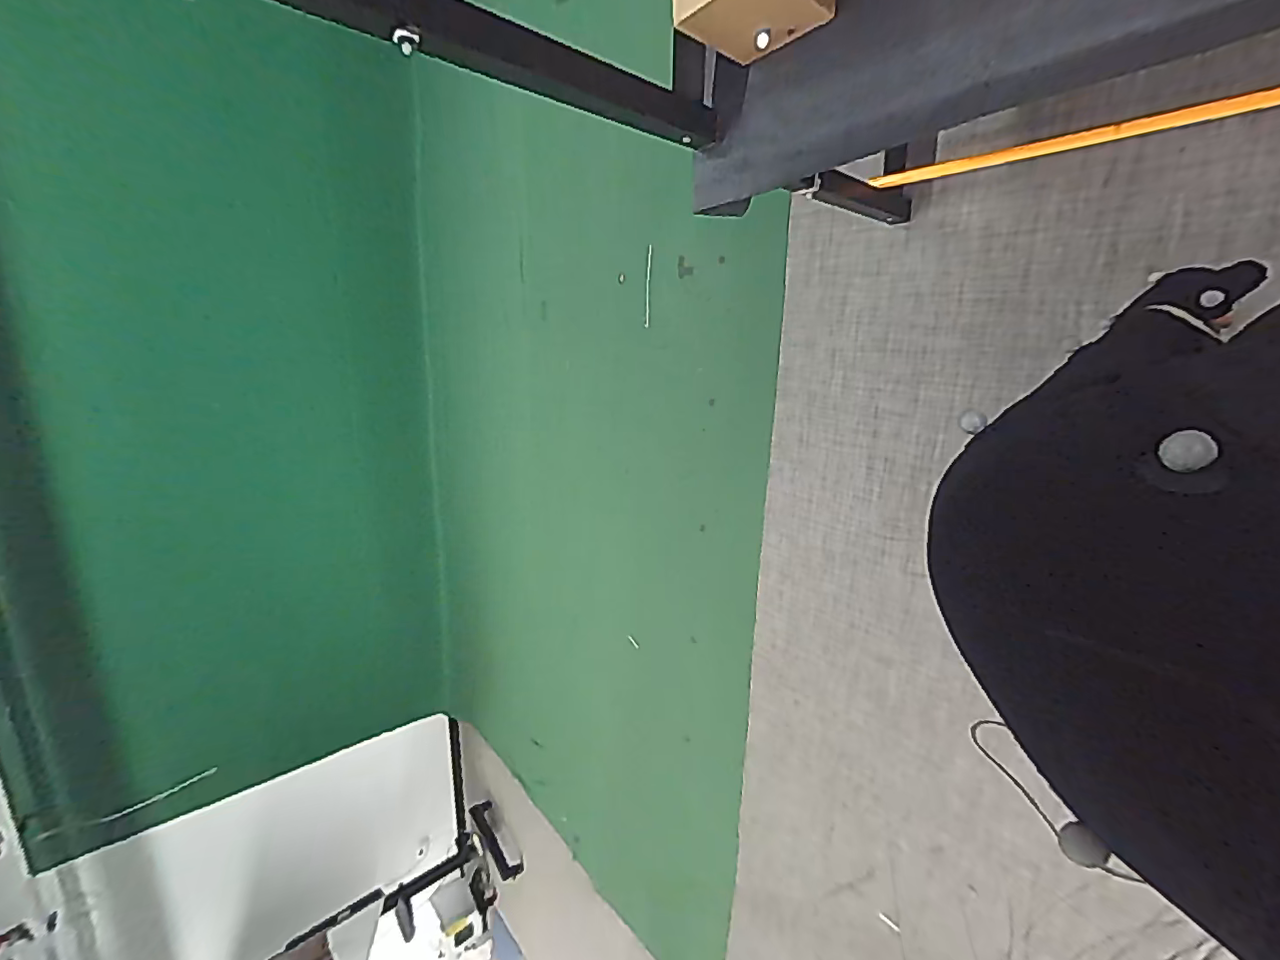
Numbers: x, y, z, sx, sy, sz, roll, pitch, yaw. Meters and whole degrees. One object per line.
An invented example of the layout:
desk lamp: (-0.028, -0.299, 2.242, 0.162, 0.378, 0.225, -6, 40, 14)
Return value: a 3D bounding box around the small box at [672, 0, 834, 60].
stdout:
small box: (0.162, -0.746, 0.759, 0.168, 0.176, 0.179, 13, 108, 48)
